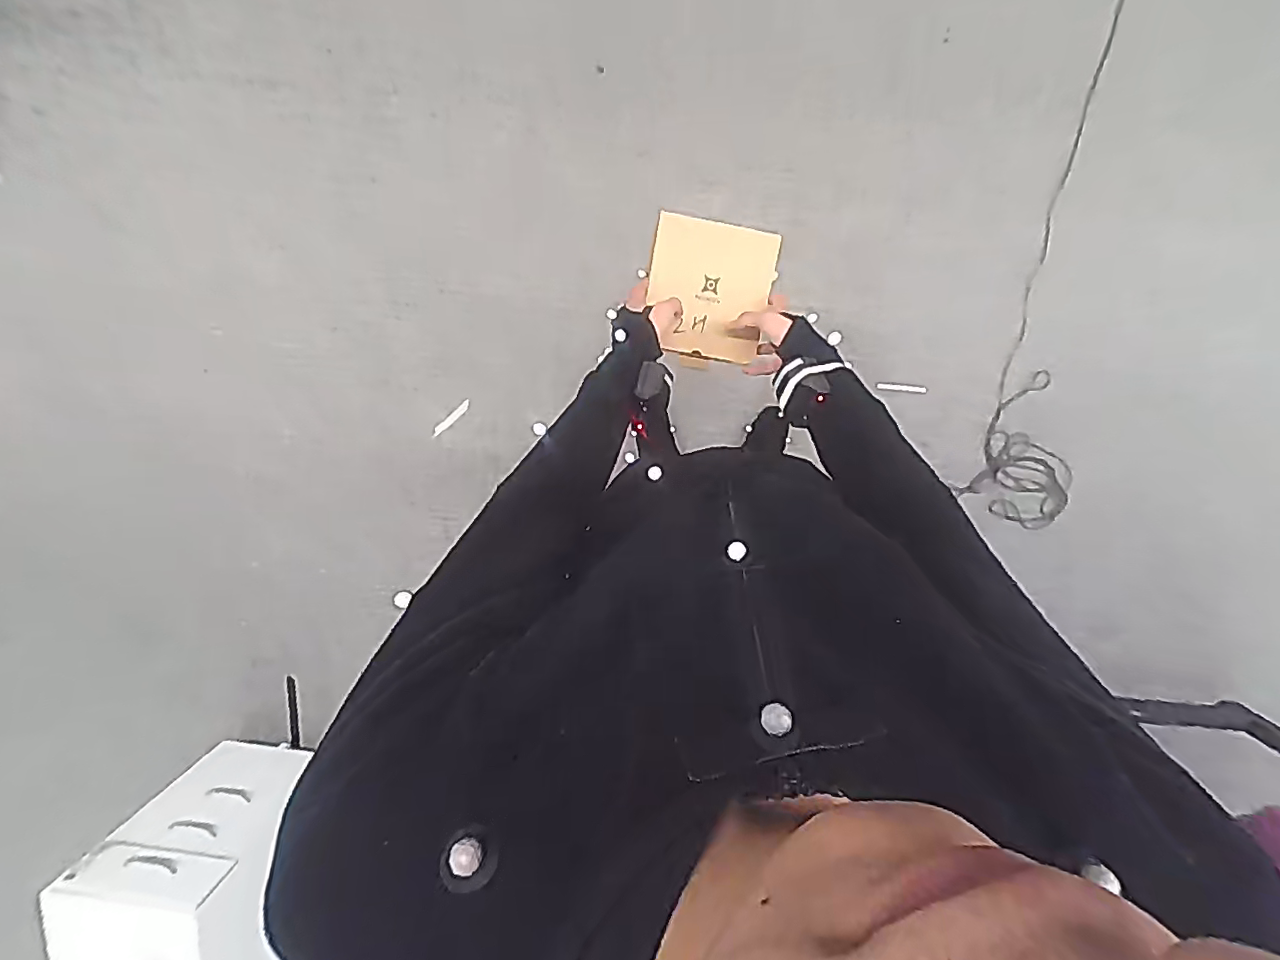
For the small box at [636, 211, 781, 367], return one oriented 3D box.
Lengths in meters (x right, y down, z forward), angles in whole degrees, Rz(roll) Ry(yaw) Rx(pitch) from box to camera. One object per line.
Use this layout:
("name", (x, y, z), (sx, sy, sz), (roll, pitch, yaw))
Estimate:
("small box", (0.088, -0.272, 0.802), (0.168, 0.176, 0.179), (9, 104, -5))
